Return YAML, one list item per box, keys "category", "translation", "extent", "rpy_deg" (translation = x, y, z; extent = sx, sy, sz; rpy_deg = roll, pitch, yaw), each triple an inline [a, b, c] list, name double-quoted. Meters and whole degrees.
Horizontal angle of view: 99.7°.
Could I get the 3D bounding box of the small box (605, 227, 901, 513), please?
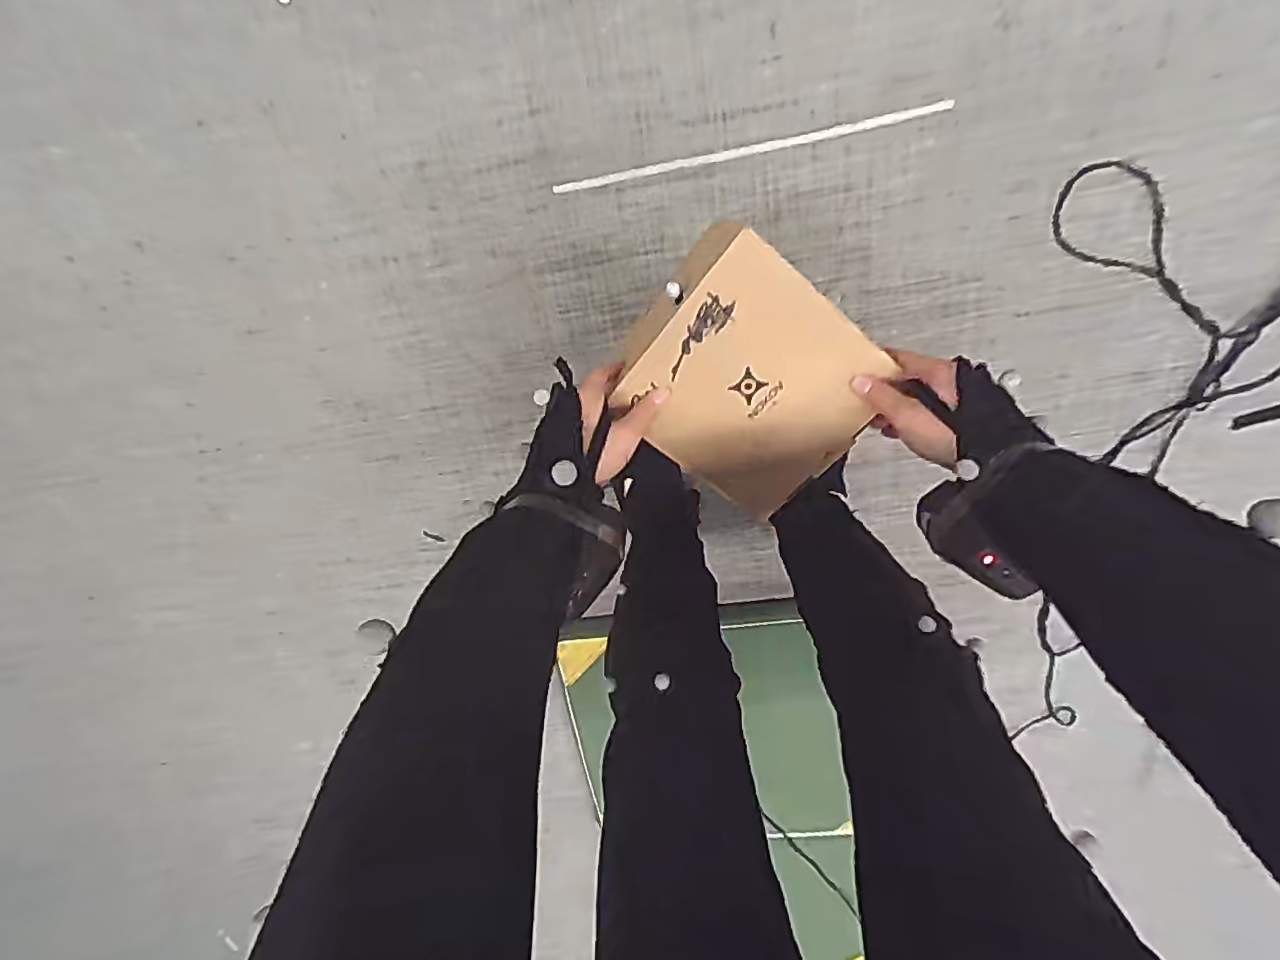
- category: "small box"
  translation: [0.089, -0.109, 0.494]
  extent: [0.179, 0.176, 0.168]
  rpy_deg: [35, 113, -17]
